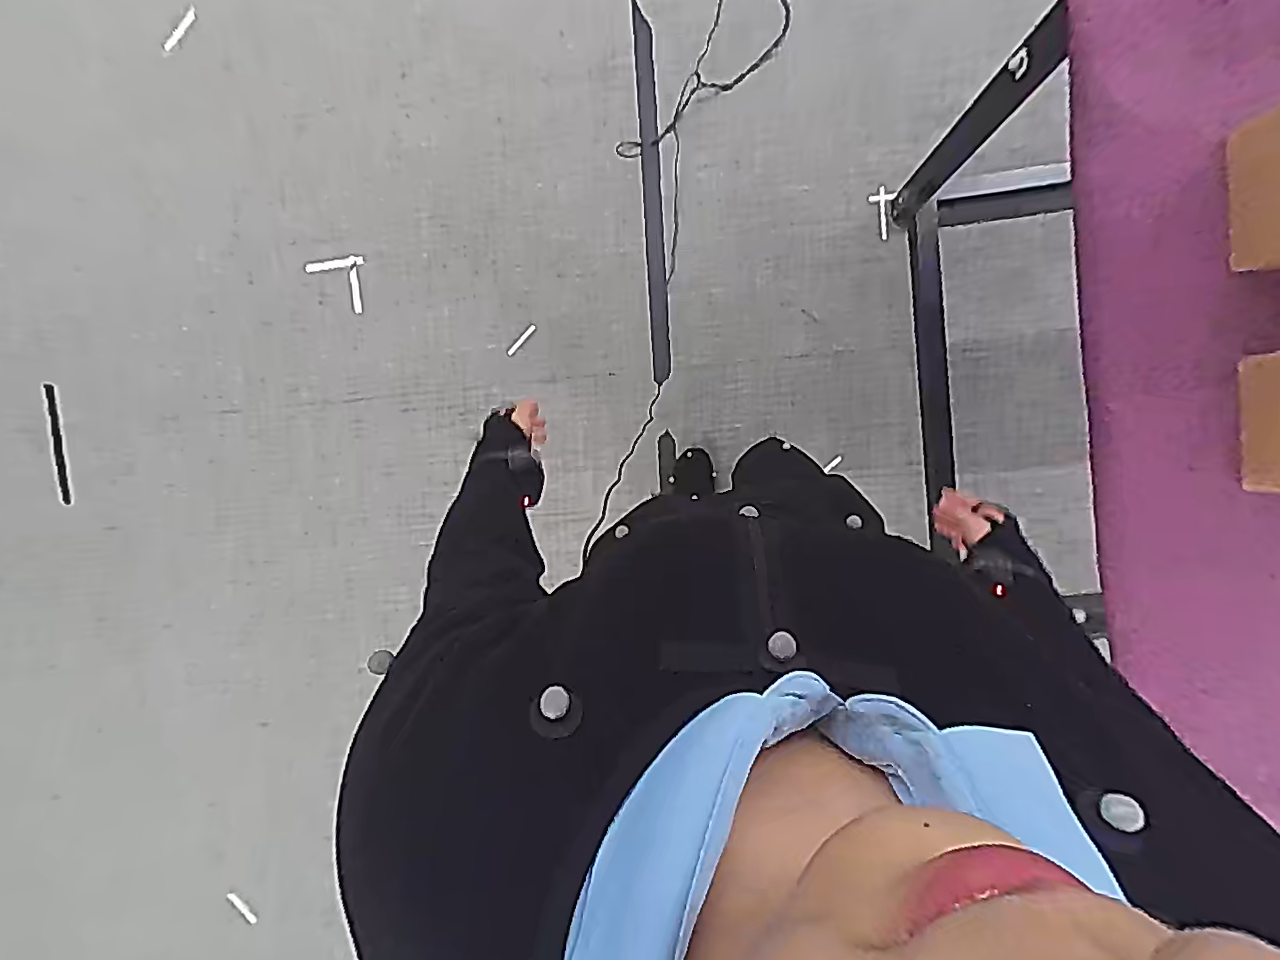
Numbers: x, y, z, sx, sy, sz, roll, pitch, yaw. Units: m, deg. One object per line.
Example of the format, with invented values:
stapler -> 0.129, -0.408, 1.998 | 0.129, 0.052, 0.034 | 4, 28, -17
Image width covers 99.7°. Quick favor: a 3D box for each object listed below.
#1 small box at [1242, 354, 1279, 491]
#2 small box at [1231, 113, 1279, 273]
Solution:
small box -> 0.864, -0.070, 0.625 | 0.168, 0.176, 0.179 | -4, 92, 4
small box -> 0.833, -0.354, 0.609 | 0.168, 0.176, 0.179 | -4, 94, 5
